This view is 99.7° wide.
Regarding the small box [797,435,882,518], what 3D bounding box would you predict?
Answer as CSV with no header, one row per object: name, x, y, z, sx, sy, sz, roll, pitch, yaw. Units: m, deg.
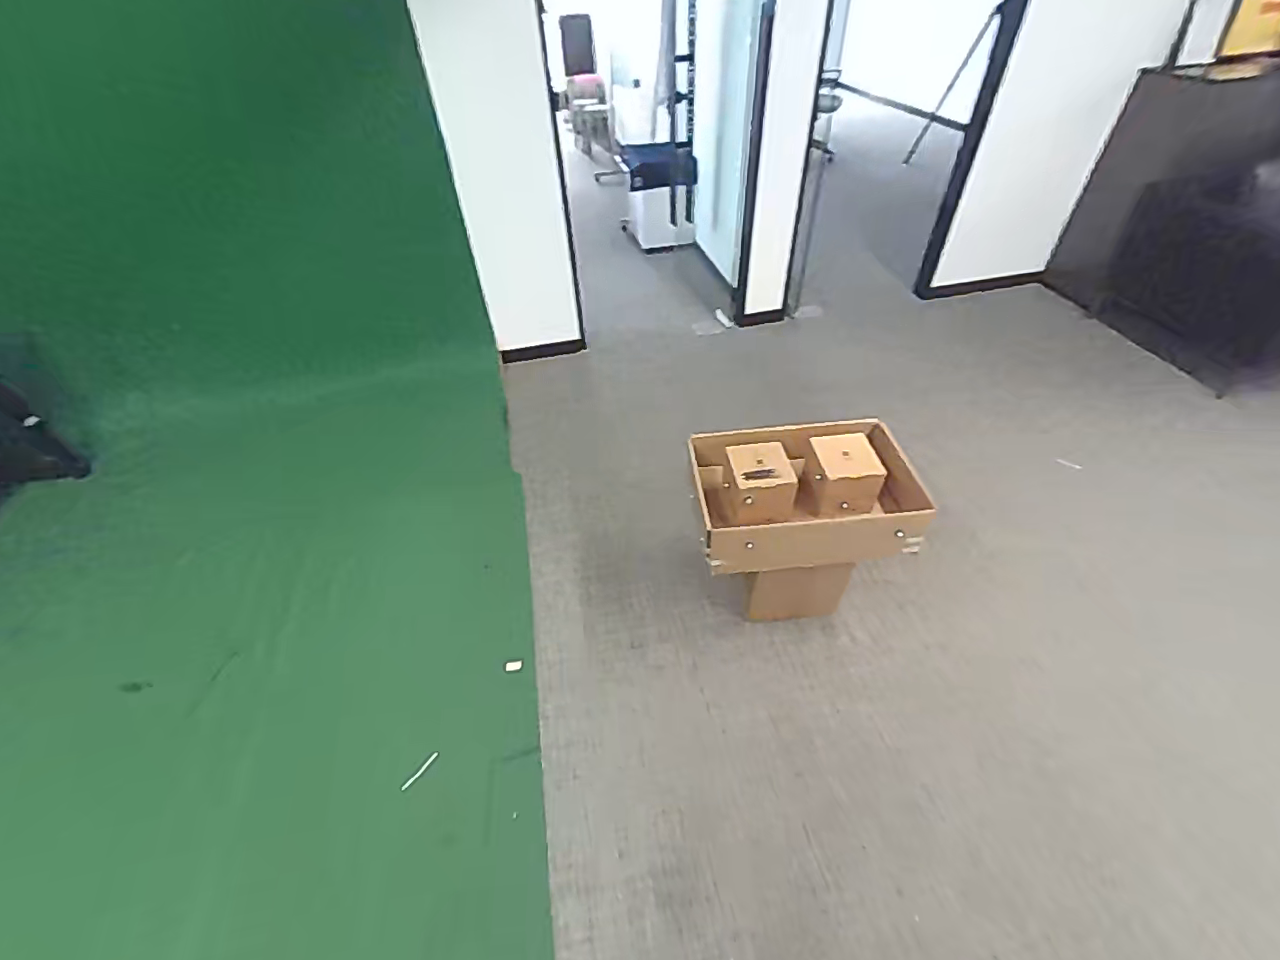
small box,0.577,-0.011,1.595,0.168,0.176,0.179,-5,47,-3
